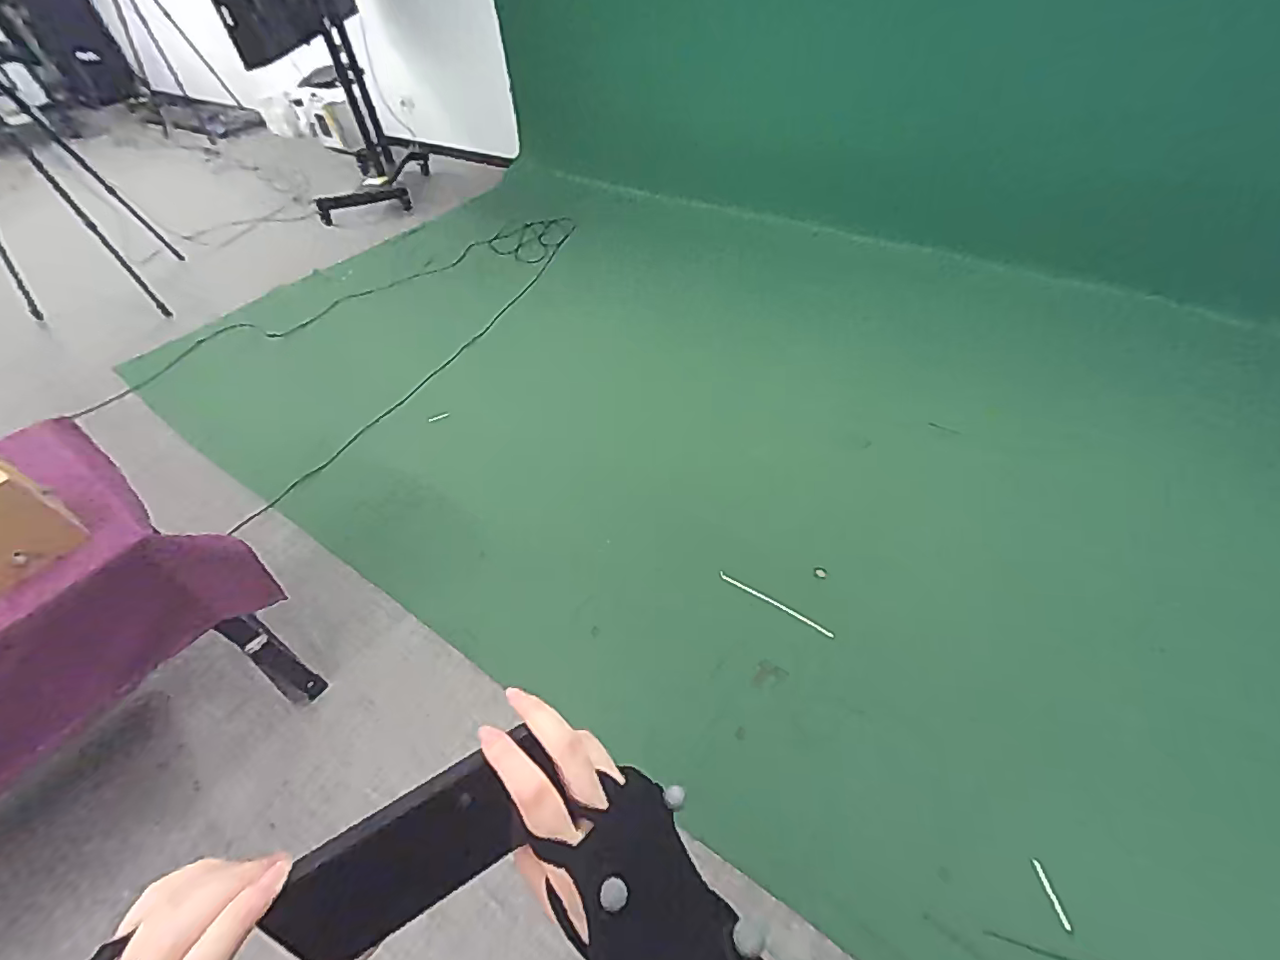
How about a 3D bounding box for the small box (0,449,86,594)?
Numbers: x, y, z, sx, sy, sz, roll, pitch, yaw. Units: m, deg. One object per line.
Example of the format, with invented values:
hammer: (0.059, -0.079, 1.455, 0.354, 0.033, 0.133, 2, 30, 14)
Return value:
small box: (-1.144, 0.074, 0.950, 0.168, 0.176, 0.179, 25, 55, 26)
